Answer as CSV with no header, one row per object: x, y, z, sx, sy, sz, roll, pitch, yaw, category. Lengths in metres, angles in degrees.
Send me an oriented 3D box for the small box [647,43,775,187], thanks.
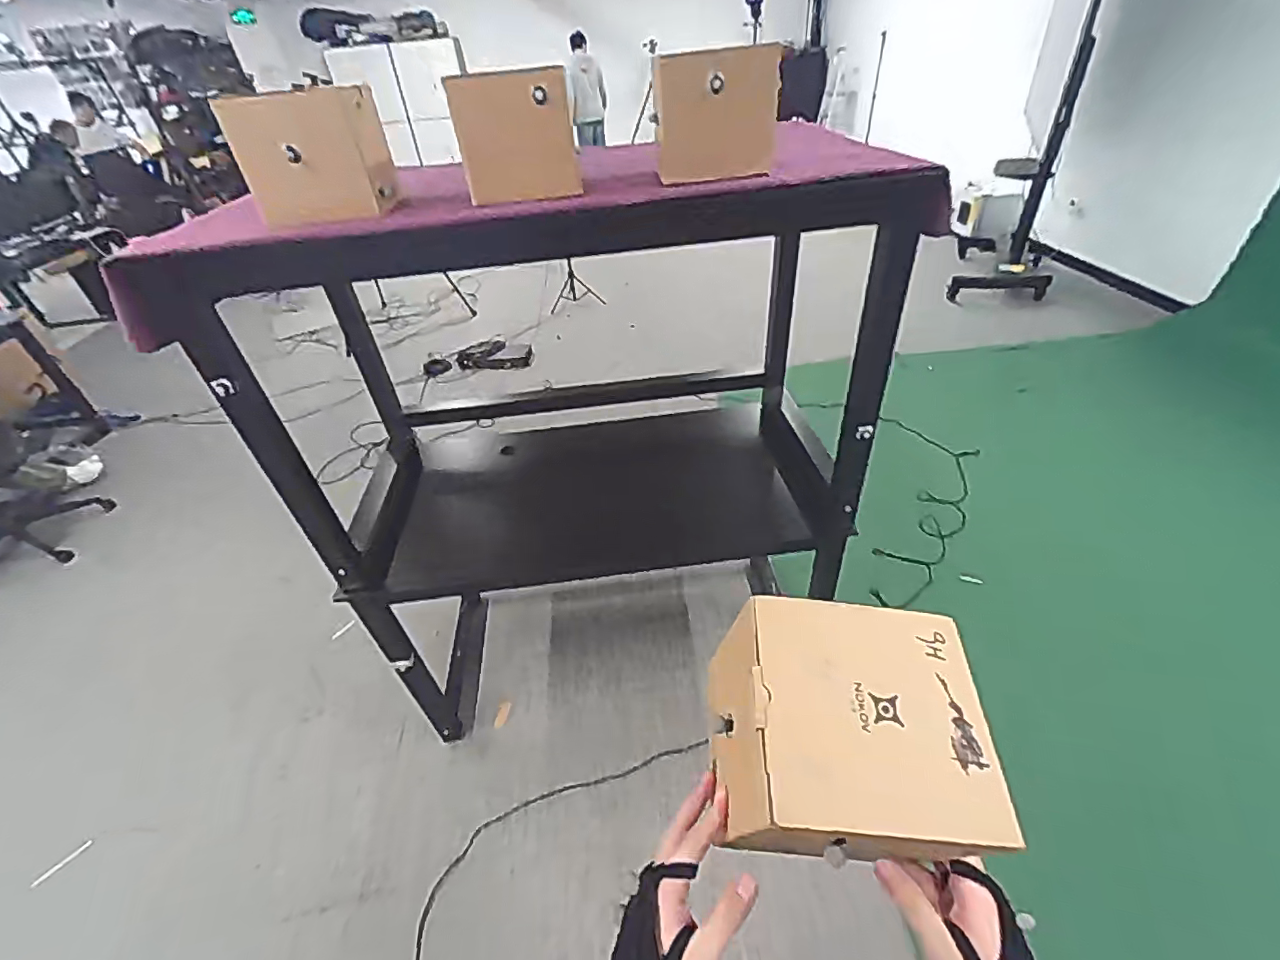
0.109,-0.579,0.864,0.179,0.176,0.168,-5,38,1,small box

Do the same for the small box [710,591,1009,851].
0.158,0.212,0.466,0.179,0.176,0.168,6,54,-2,small box

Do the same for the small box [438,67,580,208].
-0.196,-0.544,0.862,0.179,0.176,0.168,-7,38,-2,small box

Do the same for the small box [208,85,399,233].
-0.502,-0.502,0.844,0.179,0.176,0.168,-9,38,-3,small box
